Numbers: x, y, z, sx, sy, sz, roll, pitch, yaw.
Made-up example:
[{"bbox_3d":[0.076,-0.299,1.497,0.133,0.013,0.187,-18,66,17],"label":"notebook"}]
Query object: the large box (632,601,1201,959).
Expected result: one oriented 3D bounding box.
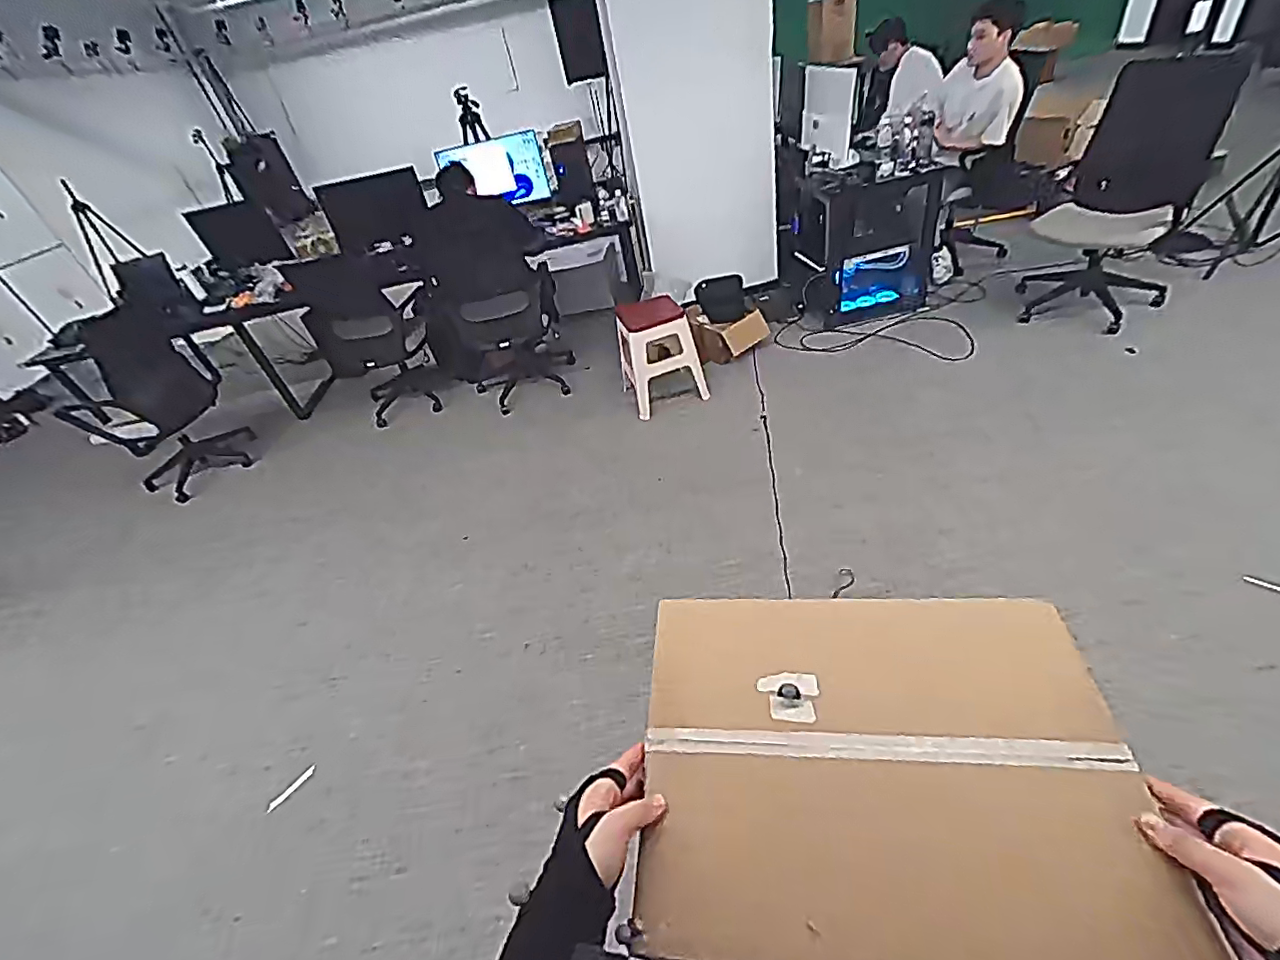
[{"bbox_3d":[0.225,0.353,0.596,0.408,0.320,0.320,-3,43,10],"label":"large box"}]
